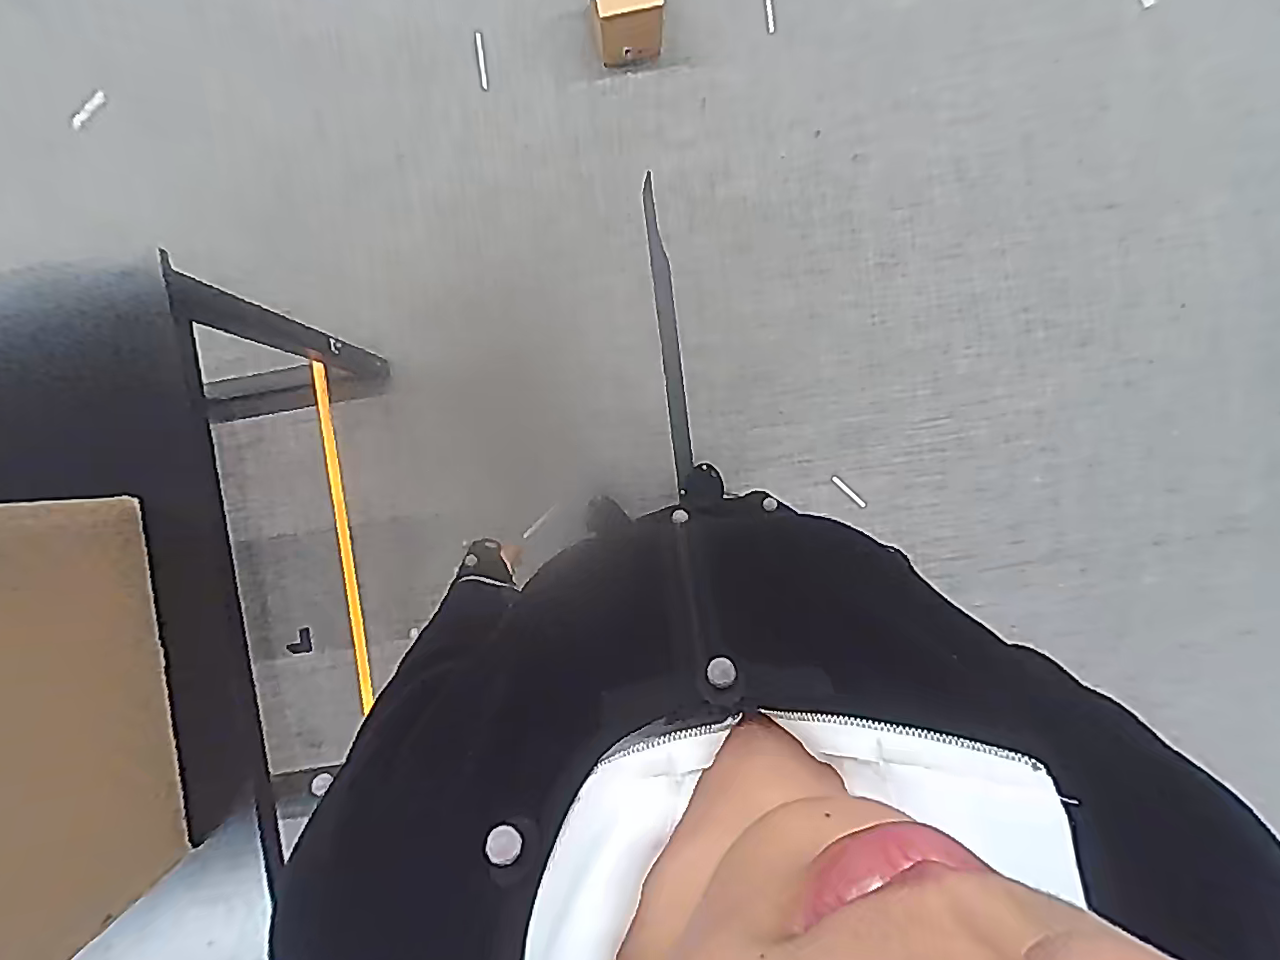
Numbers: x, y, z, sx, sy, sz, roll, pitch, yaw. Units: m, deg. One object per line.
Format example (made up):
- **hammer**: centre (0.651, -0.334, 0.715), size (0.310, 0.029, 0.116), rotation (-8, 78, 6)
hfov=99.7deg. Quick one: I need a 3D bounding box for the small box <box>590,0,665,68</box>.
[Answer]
- **small box**: centre (-0.037, -1.224, 1.397), size (0.168, 0.176, 0.179), rotation (-13, 92, 1)
